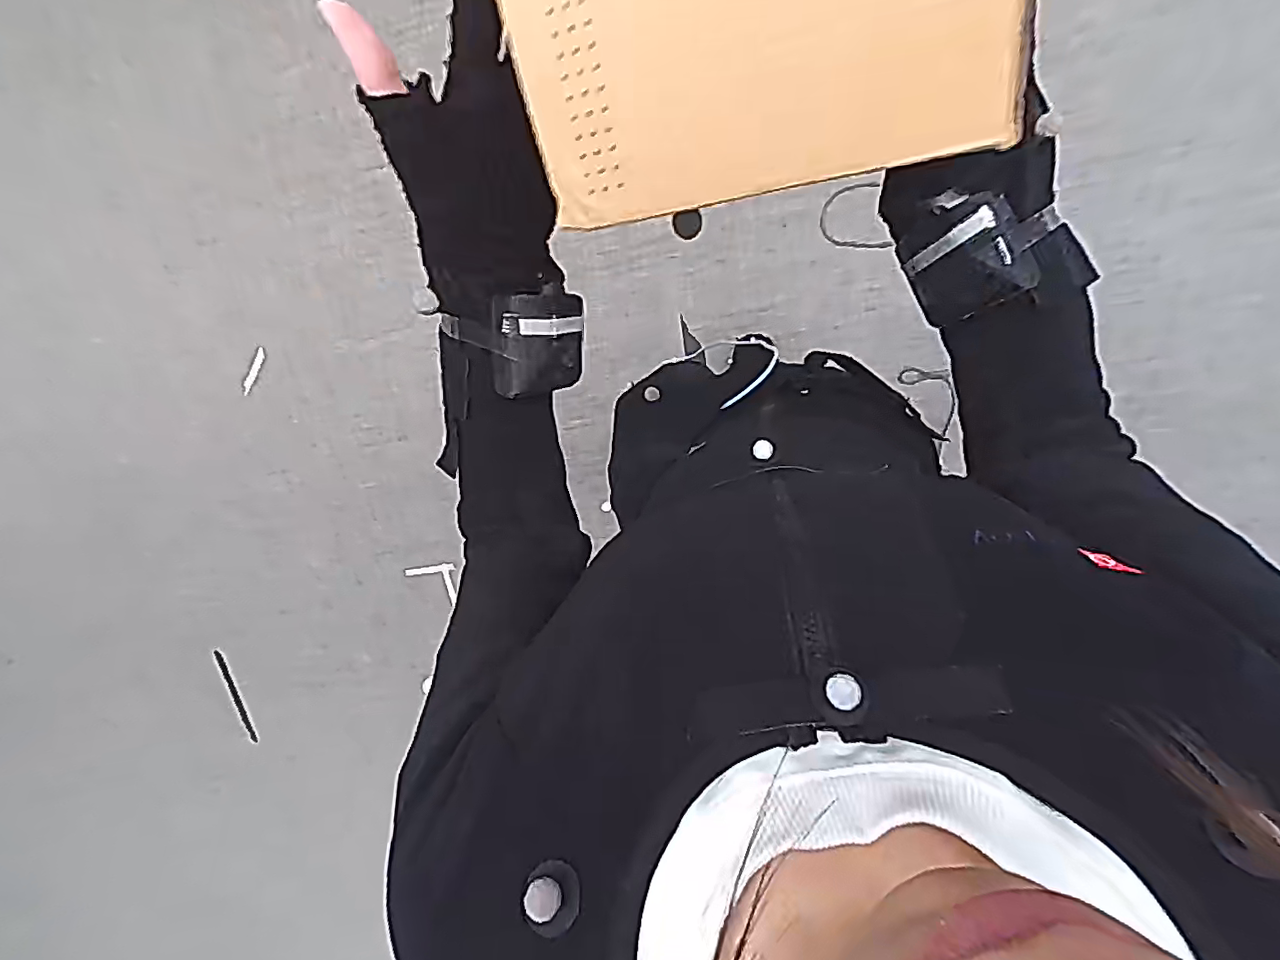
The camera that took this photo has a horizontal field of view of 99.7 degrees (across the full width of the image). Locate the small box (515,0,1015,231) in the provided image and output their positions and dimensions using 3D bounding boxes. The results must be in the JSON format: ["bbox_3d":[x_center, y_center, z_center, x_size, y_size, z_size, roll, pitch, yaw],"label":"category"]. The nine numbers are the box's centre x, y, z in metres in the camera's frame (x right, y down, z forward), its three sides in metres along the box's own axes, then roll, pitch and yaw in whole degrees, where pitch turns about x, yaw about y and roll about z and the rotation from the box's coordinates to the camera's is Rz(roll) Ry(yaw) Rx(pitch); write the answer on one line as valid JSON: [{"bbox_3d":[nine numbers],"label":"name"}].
[{"bbox_3d":[0.047,-0.226,0.236,0.176,0.168,0.179,-1,121,20],"label":"small box"}]
